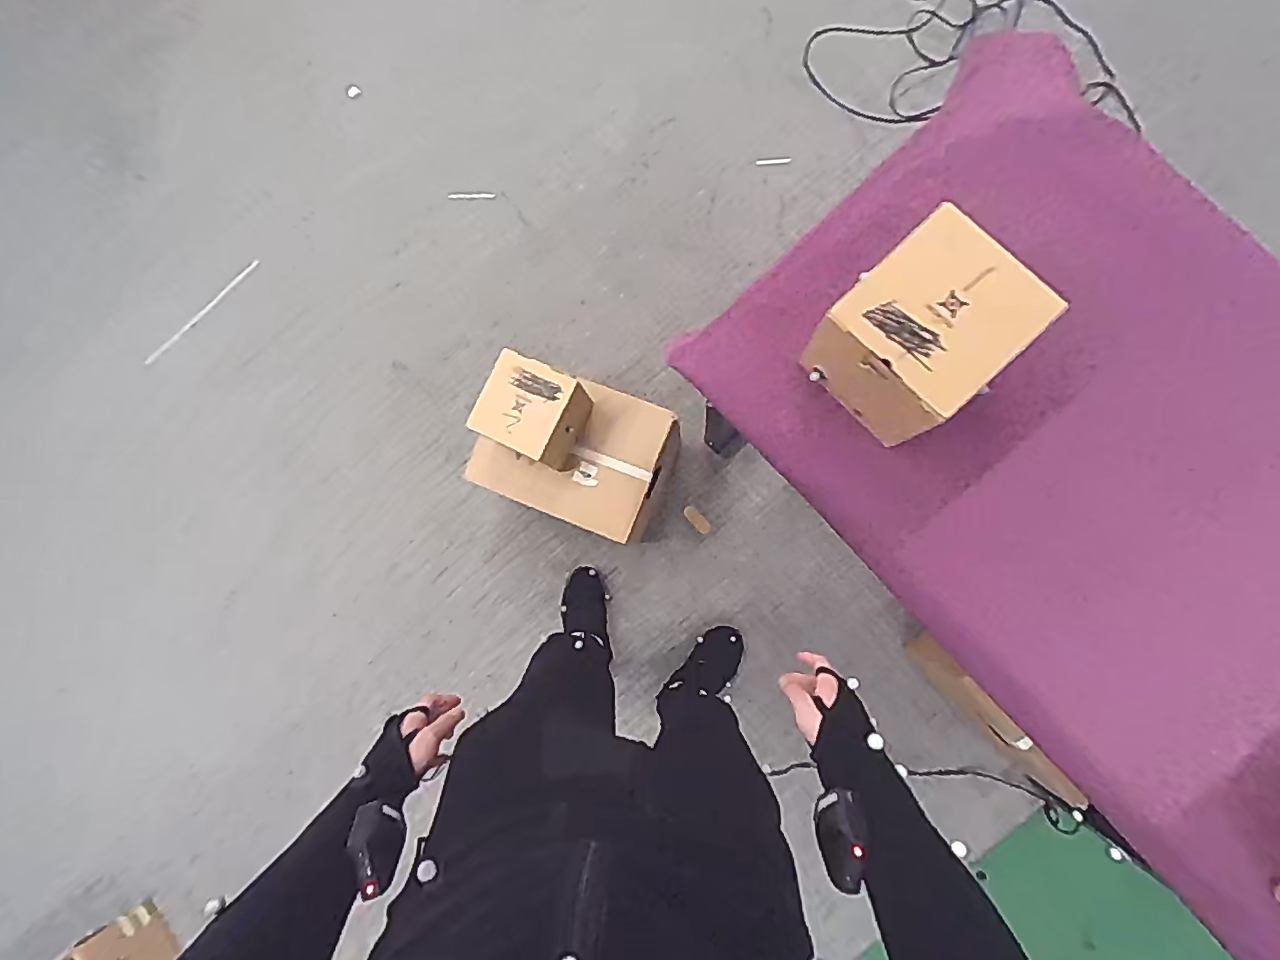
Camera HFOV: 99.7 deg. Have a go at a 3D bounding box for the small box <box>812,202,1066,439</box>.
[{"bbox_3d":[0.327,-0.171,0.639,0.179,0.176,0.168,-43,82,-1],"label":"small box"}]

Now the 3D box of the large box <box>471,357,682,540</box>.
[{"bbox_3d":[-0.134,-0.062,1.350,0.408,0.320,0.320,21,87,7],"label":"large box"}]
